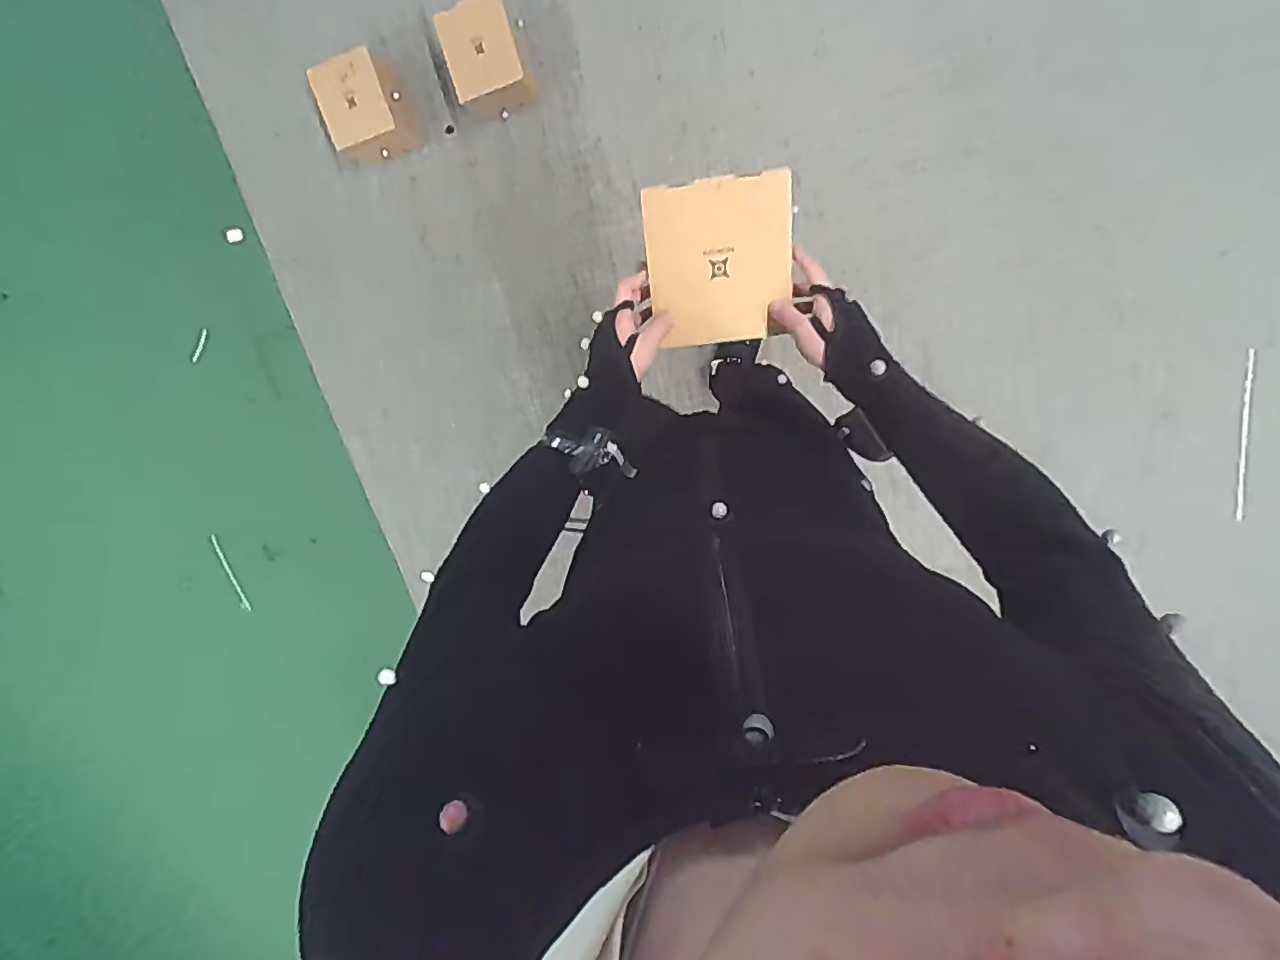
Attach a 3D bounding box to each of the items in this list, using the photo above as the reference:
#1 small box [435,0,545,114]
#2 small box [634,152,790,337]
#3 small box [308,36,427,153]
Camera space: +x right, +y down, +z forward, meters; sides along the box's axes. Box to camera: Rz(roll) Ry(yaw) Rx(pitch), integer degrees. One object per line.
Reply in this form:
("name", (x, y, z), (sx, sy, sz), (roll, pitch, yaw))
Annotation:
("small box", (-0.340, -0.995, 1.259), (0.168, 0.176, 0.179), (-12, 108, 12))
("small box", (0.089, -0.284, 0.673), (0.168, 0.176, 0.179), (-5, 110, 6))
("small box", (-0.655, -0.926, 1.323), (0.168, 0.176, 0.179), (-12, 107, 11))
